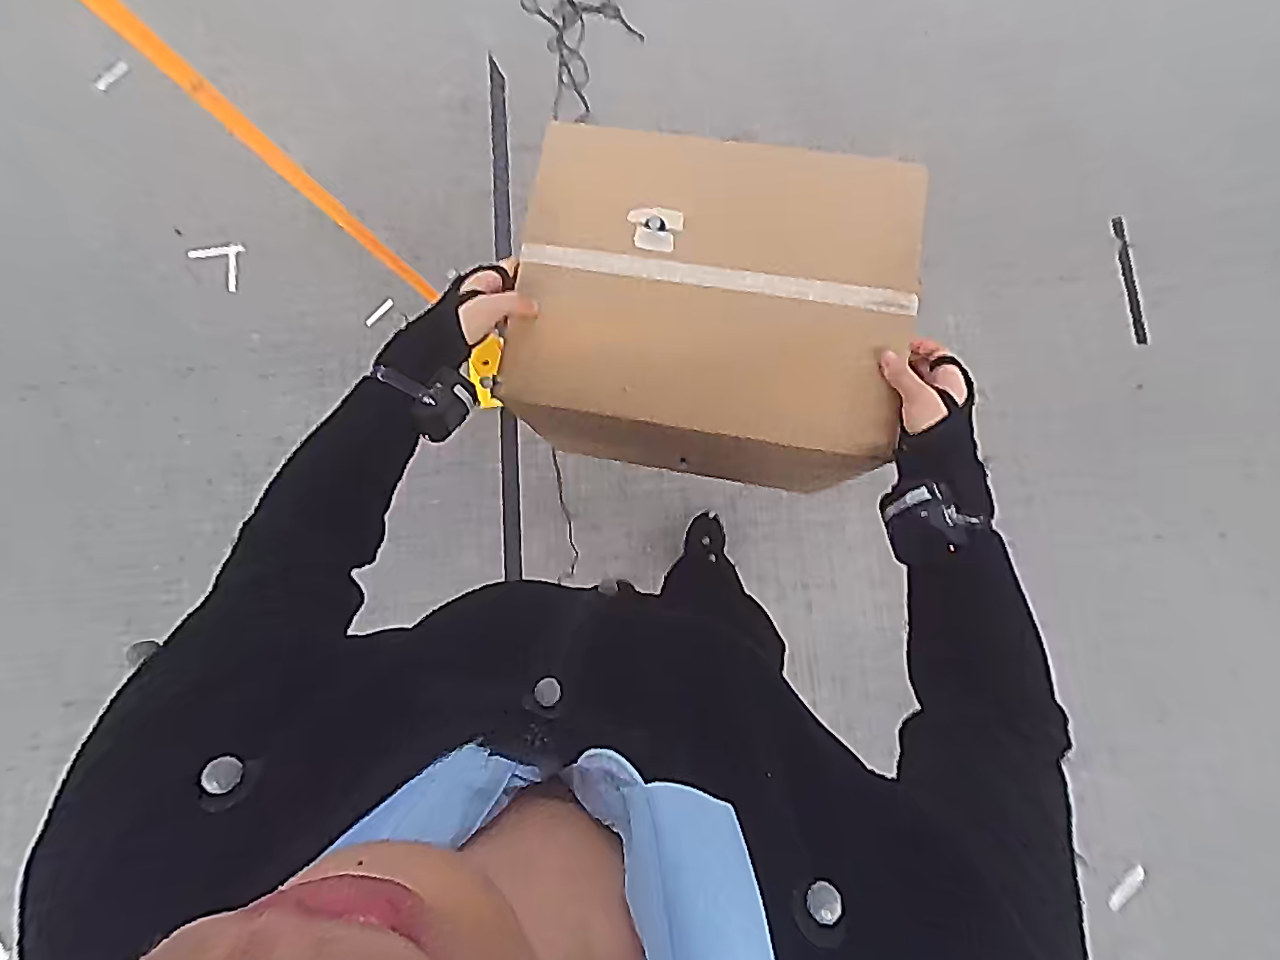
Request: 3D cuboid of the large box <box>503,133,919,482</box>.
[{"bbox_3d":[0.087,-0.189,0.710,0.408,0.320,0.320,9,82,6],"label":"large box"}]
